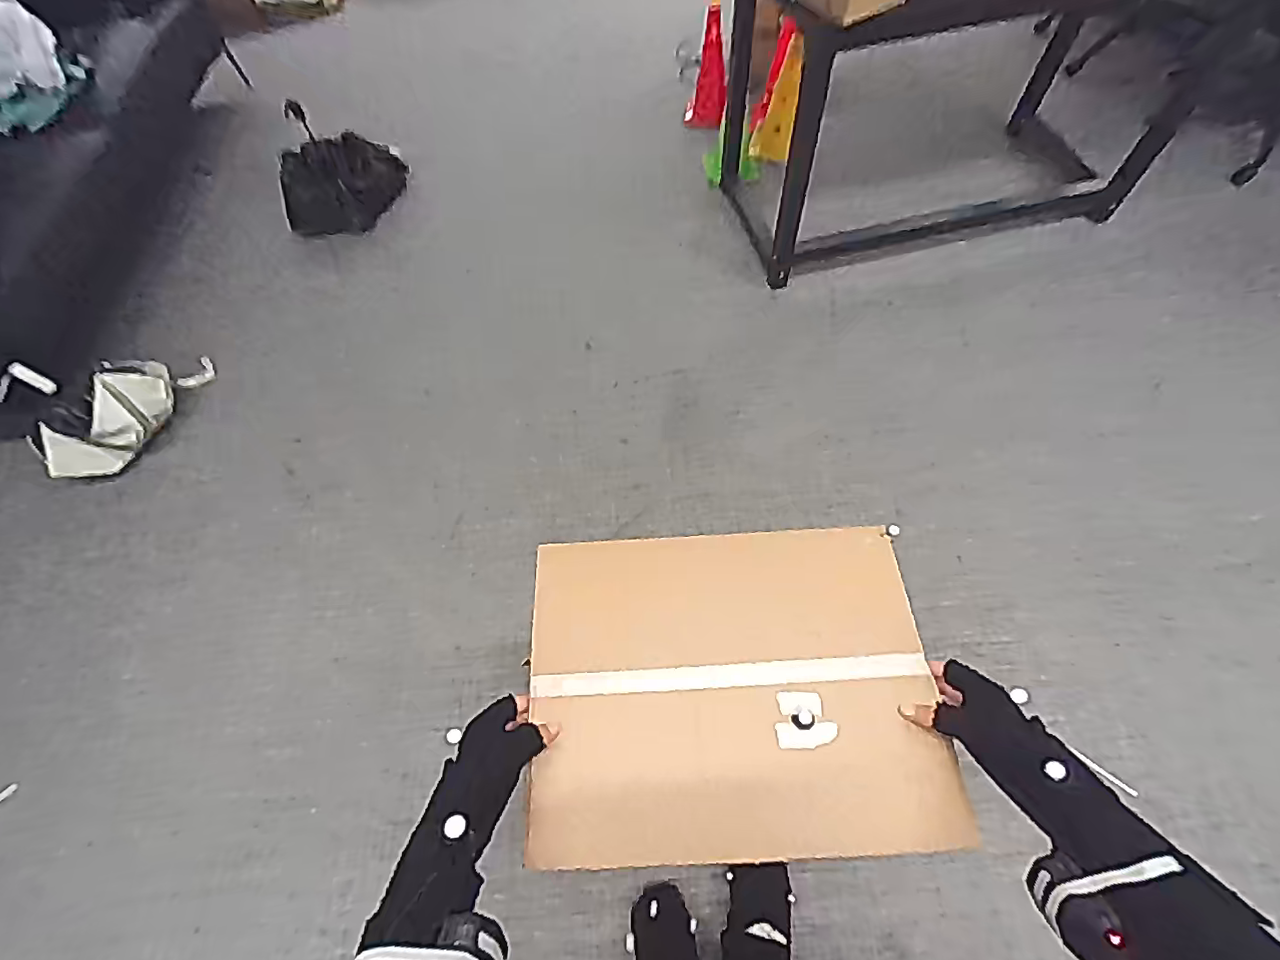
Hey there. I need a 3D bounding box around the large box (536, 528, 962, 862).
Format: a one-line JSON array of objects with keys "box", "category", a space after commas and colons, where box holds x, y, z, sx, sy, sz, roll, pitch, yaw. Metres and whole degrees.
[{"box": [0.095, 0.276, 0.697, 0.408, 0.320, 0.320, -3, 61, 1], "category": "large box"}]
